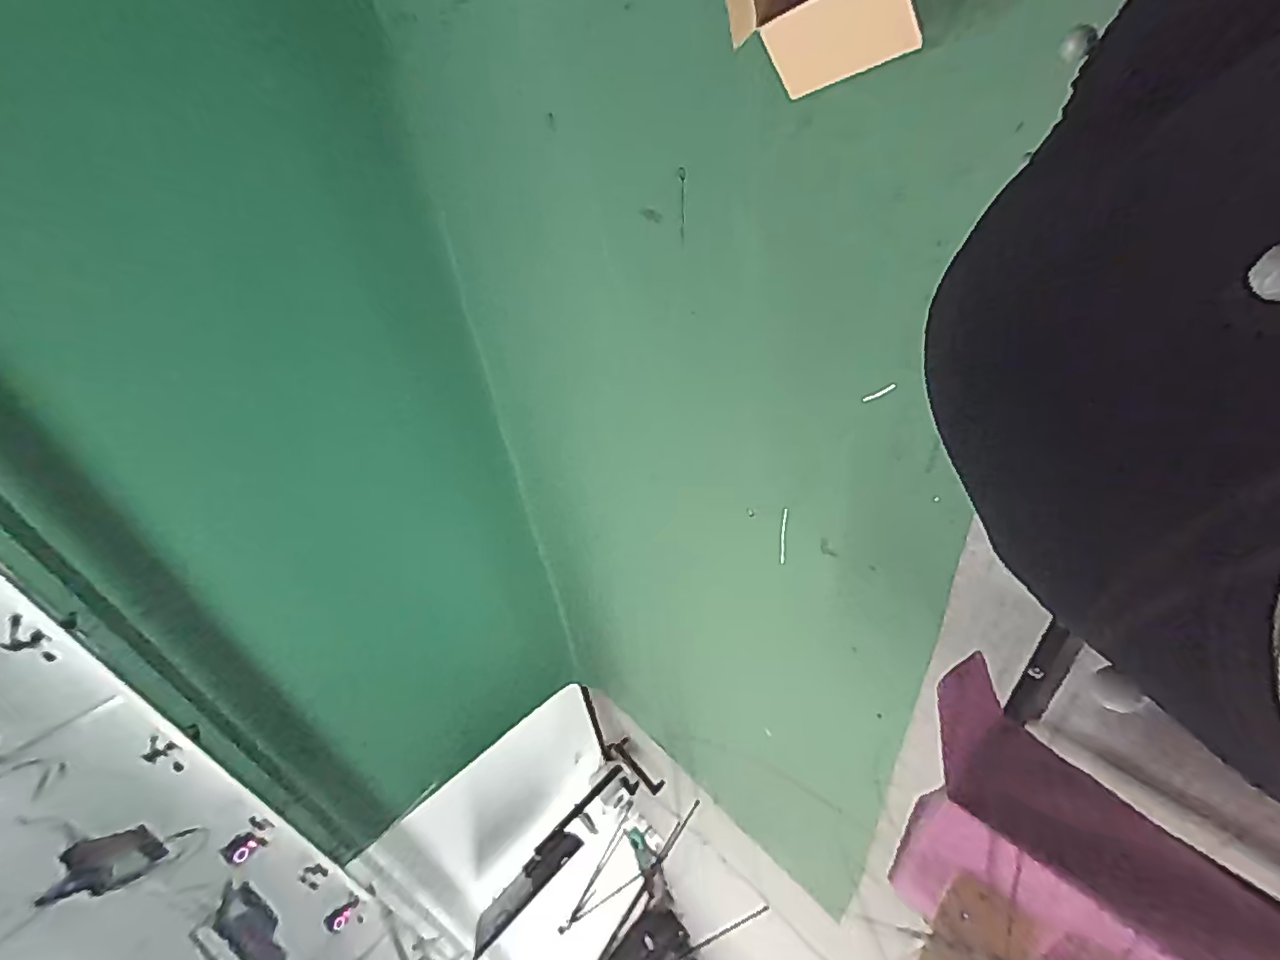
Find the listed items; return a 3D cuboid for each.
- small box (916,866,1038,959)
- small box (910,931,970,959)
[{"bbox_3d":[0.755,1.019,1.213,0.168,0.176,0.179,30,141,38],"label":"small box"},{"bbox_3d":[0.640,1.098,1.126,0.168,0.176,0.179,30,140,39],"label":"small box"}]
